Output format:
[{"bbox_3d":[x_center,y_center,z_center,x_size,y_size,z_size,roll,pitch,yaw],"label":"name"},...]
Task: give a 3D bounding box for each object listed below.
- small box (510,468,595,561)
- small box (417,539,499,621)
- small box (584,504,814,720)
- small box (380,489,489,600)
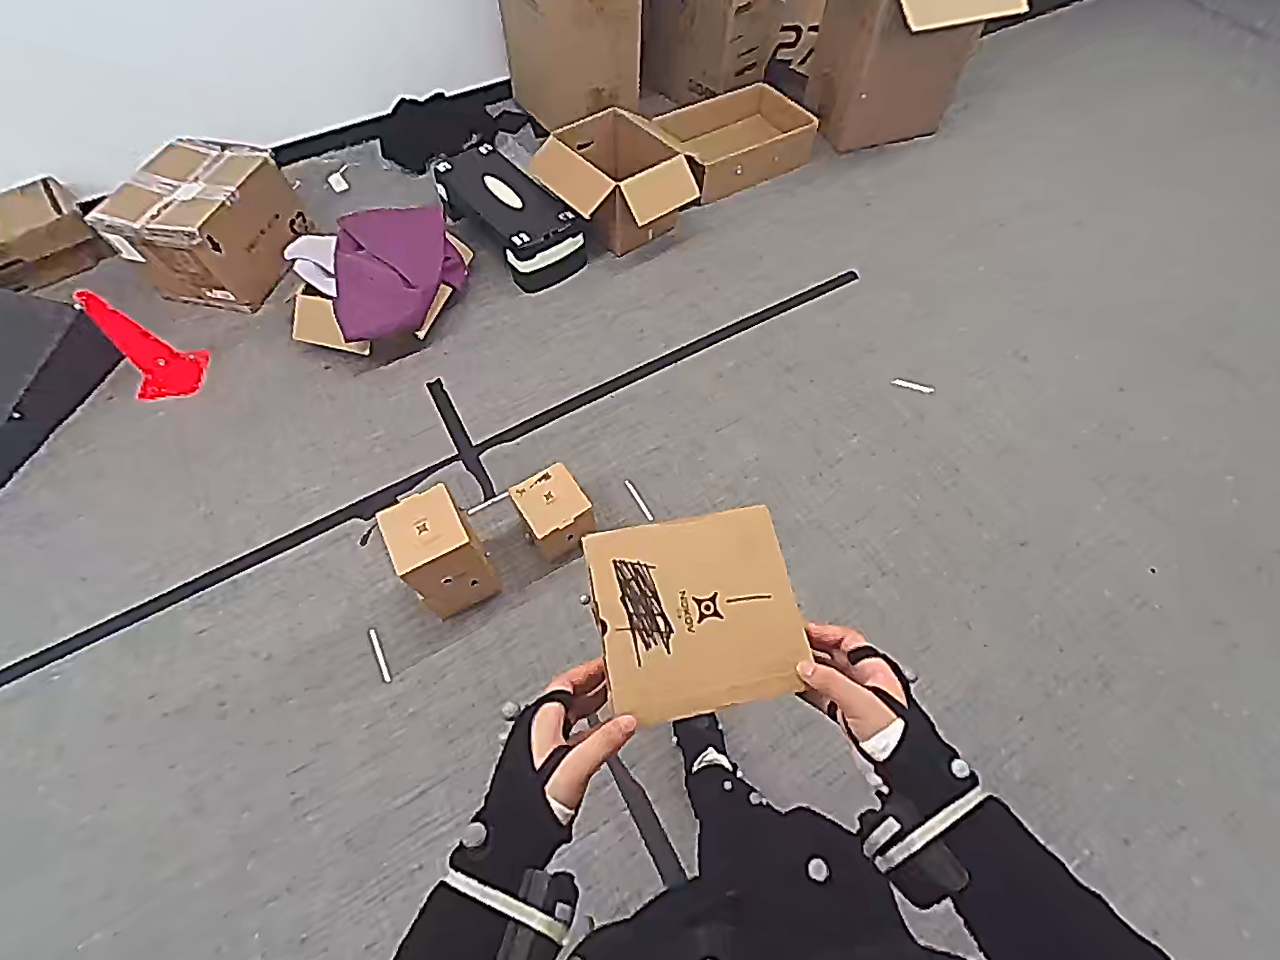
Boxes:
[{"bbox_3d":[-0.236,0.106,1.507,0.168,0.176,0.179,-30,65,-16],"label":"small box"},{"bbox_3d":[-0.486,0.245,1.425,0.179,0.176,0.168,-26,63,-13],"label":"small box"},{"bbox_3d":[0.045,0.141,0.551,0.179,0.176,0.168,-10,69,-8],"label":"small box"},{"bbox_3d":[-0.483,0.157,1.288,0.168,0.176,0.179,-28,65,-13],"label":"small box"}]
